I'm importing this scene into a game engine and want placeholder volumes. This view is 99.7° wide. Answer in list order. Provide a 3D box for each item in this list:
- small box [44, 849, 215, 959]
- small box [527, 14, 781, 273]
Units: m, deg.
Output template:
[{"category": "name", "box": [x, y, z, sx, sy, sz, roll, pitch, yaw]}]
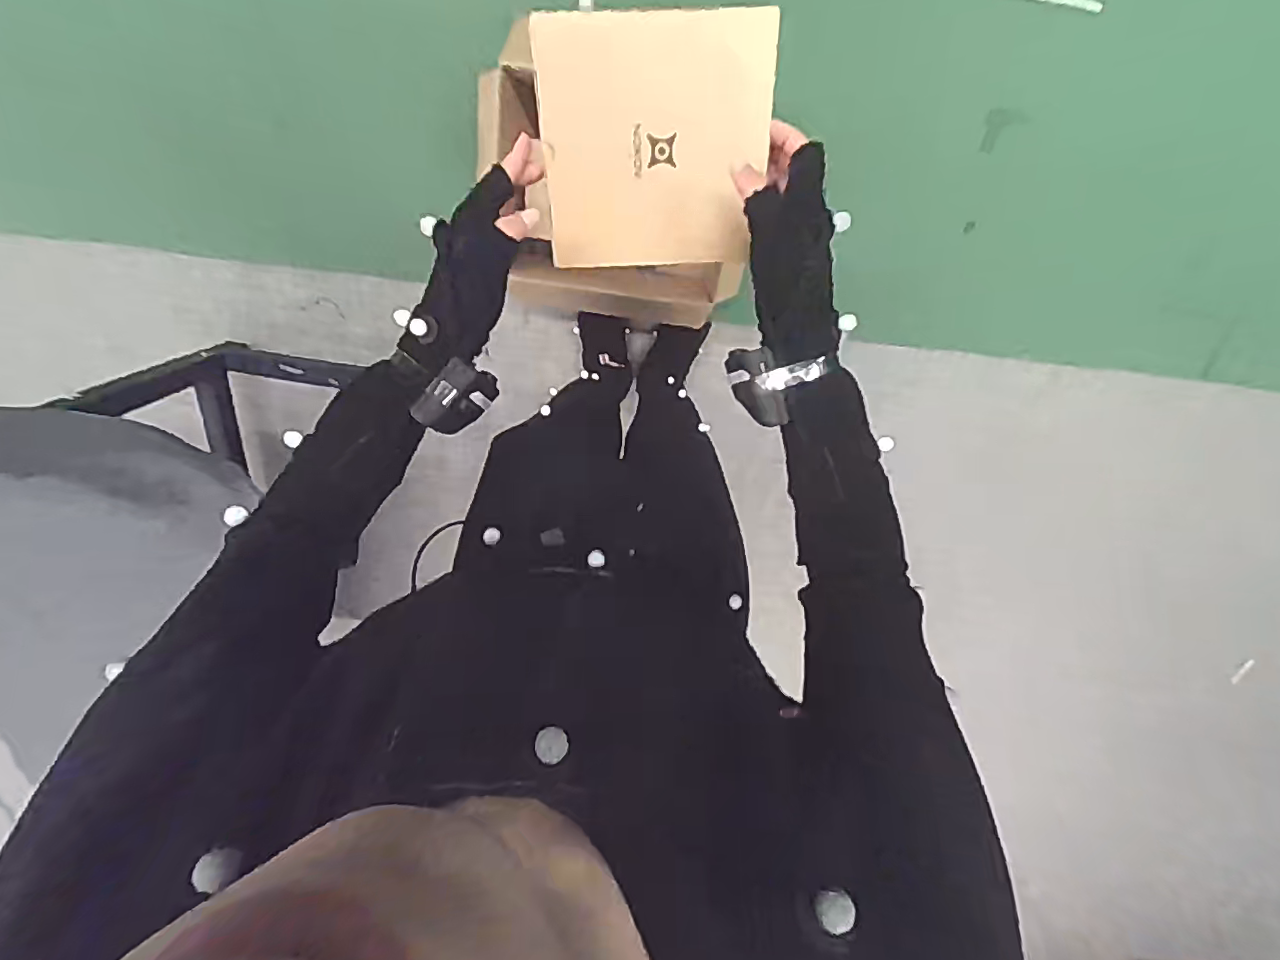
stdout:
[{"category": "small box", "box": [-1.011, 0.885, 1.097, 0.179, 0.176, 0.168, 7, 117, 0]}, {"category": "small box", "box": [0.008, -0.285, 0.472, 0.179, 0.176, 0.168, -2, 121, 0]}]
